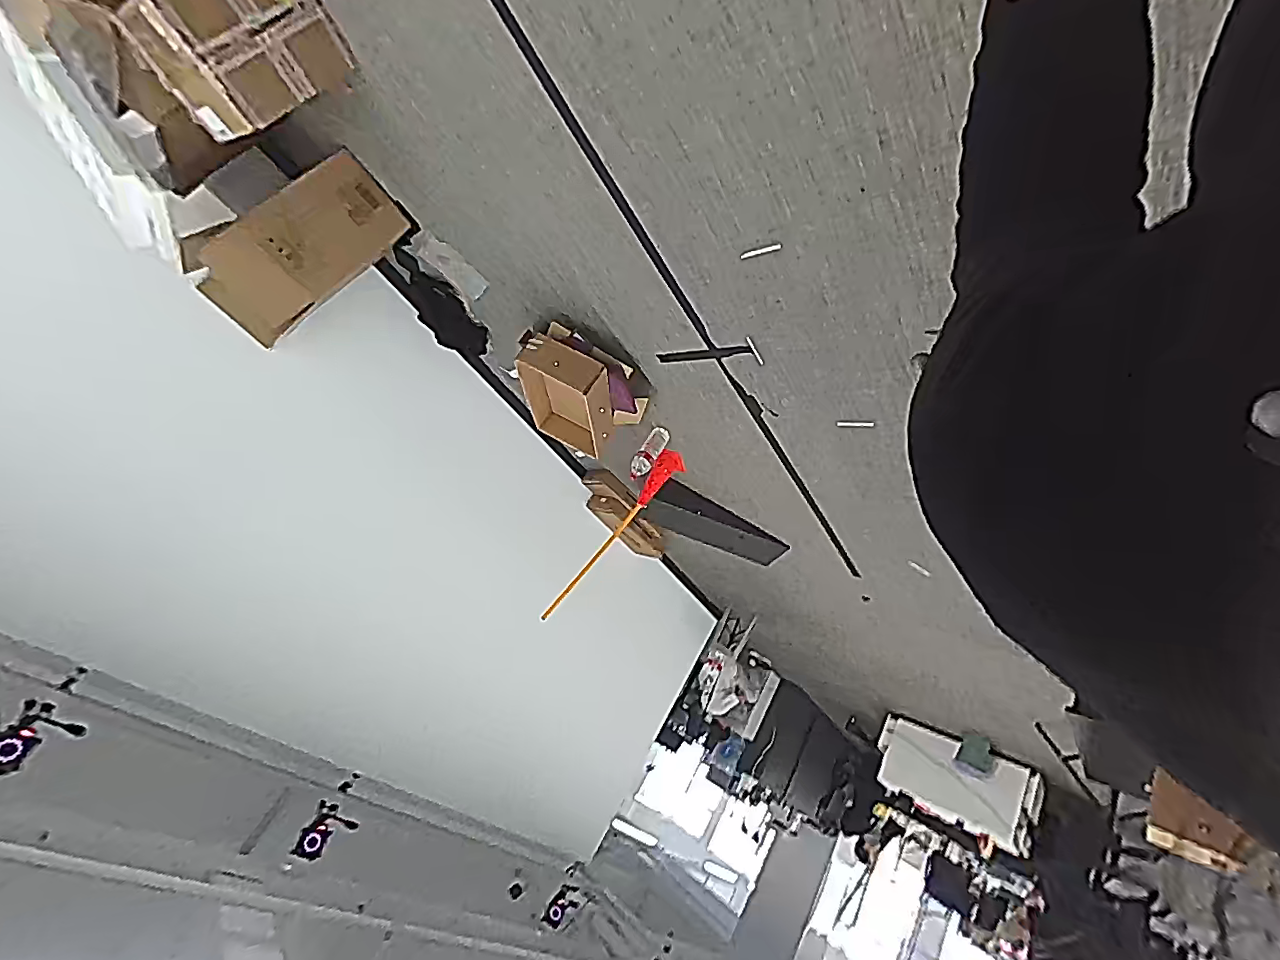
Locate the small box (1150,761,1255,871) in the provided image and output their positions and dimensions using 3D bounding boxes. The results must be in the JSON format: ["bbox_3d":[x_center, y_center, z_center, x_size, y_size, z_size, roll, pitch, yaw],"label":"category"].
[{"bbox_3d":[1.469,0.872,1.415,0.179,0.176,0.168,9,149,47],"label":"small box"}]
